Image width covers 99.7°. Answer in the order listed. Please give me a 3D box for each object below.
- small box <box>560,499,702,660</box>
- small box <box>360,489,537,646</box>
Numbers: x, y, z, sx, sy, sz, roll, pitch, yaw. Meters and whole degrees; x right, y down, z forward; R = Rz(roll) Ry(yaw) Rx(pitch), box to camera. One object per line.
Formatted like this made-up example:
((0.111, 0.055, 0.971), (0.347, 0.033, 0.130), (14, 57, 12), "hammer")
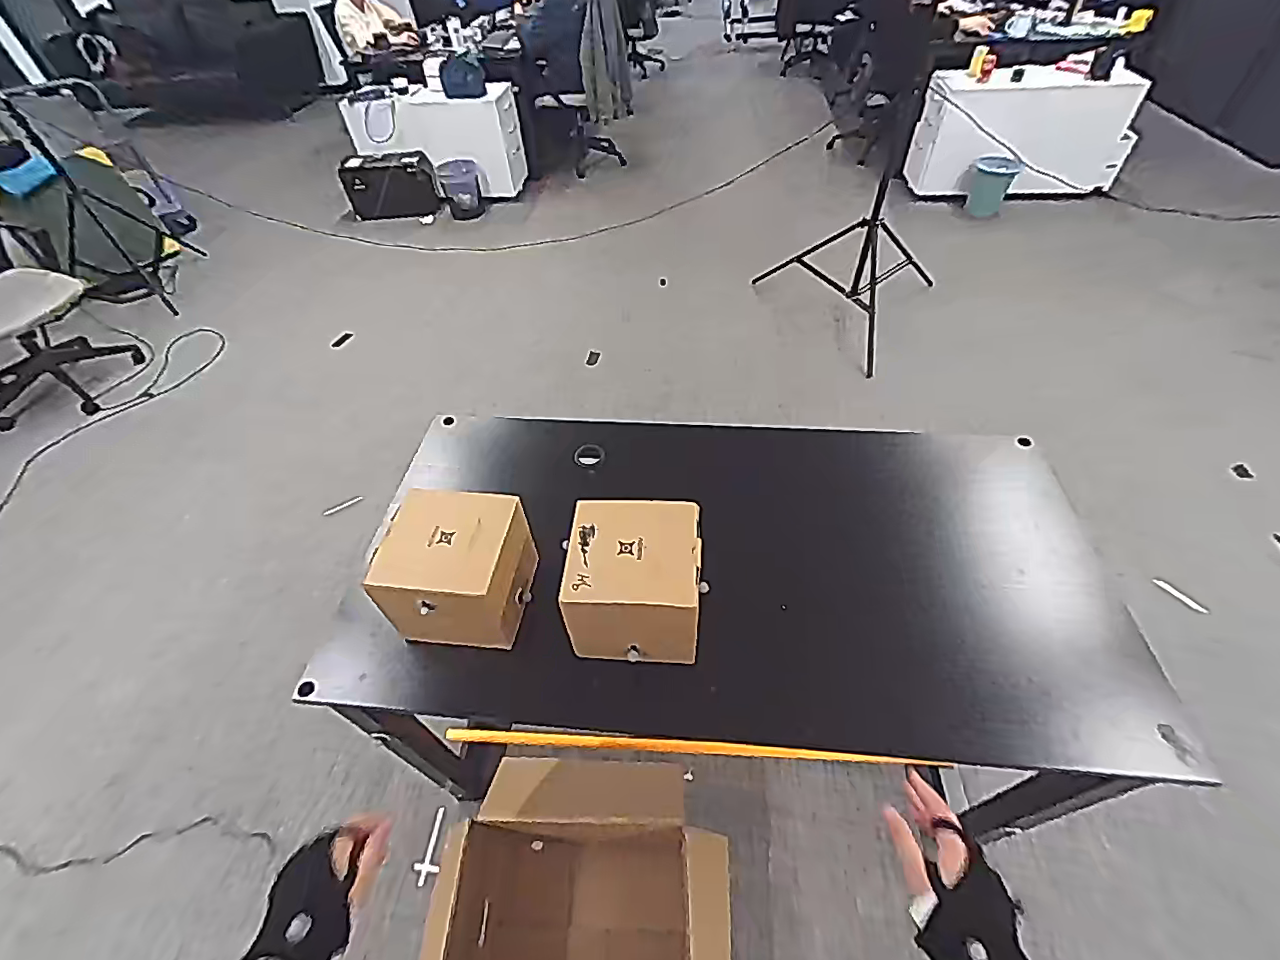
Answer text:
((-0.005, 0.146, 0.774), (0.179, 0.176, 0.168), (2, 48, 4), "small box")
((-0.267, 0.133, 0.801), (0.179, 0.176, 0.168), (4, 50, 5), "small box")
